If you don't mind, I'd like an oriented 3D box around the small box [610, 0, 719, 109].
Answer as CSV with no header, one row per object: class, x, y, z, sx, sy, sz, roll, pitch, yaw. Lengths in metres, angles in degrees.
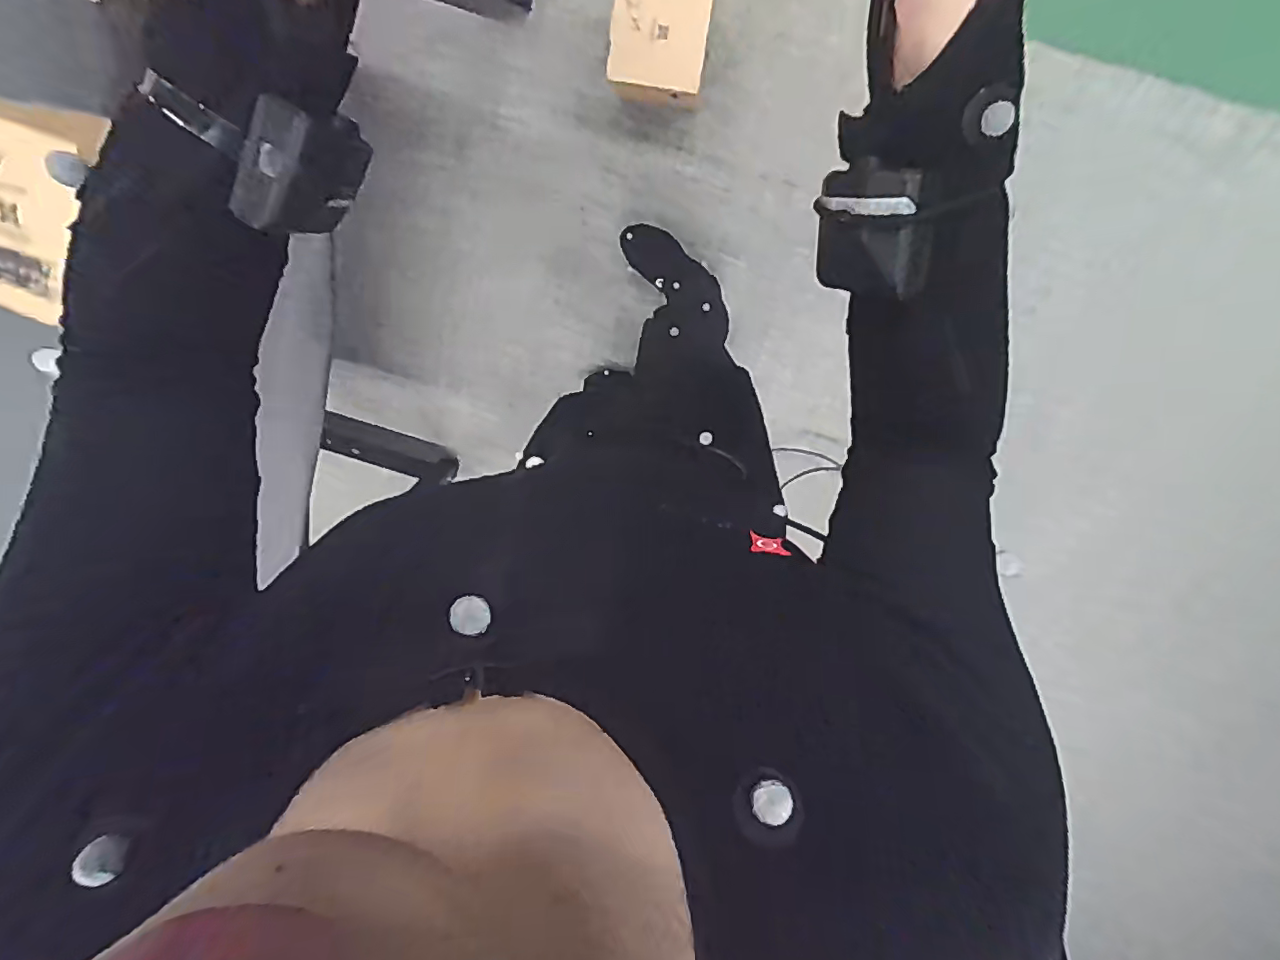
small box,0.049,-0.823,1.027,0.179,0.176,0.168,10,117,2
